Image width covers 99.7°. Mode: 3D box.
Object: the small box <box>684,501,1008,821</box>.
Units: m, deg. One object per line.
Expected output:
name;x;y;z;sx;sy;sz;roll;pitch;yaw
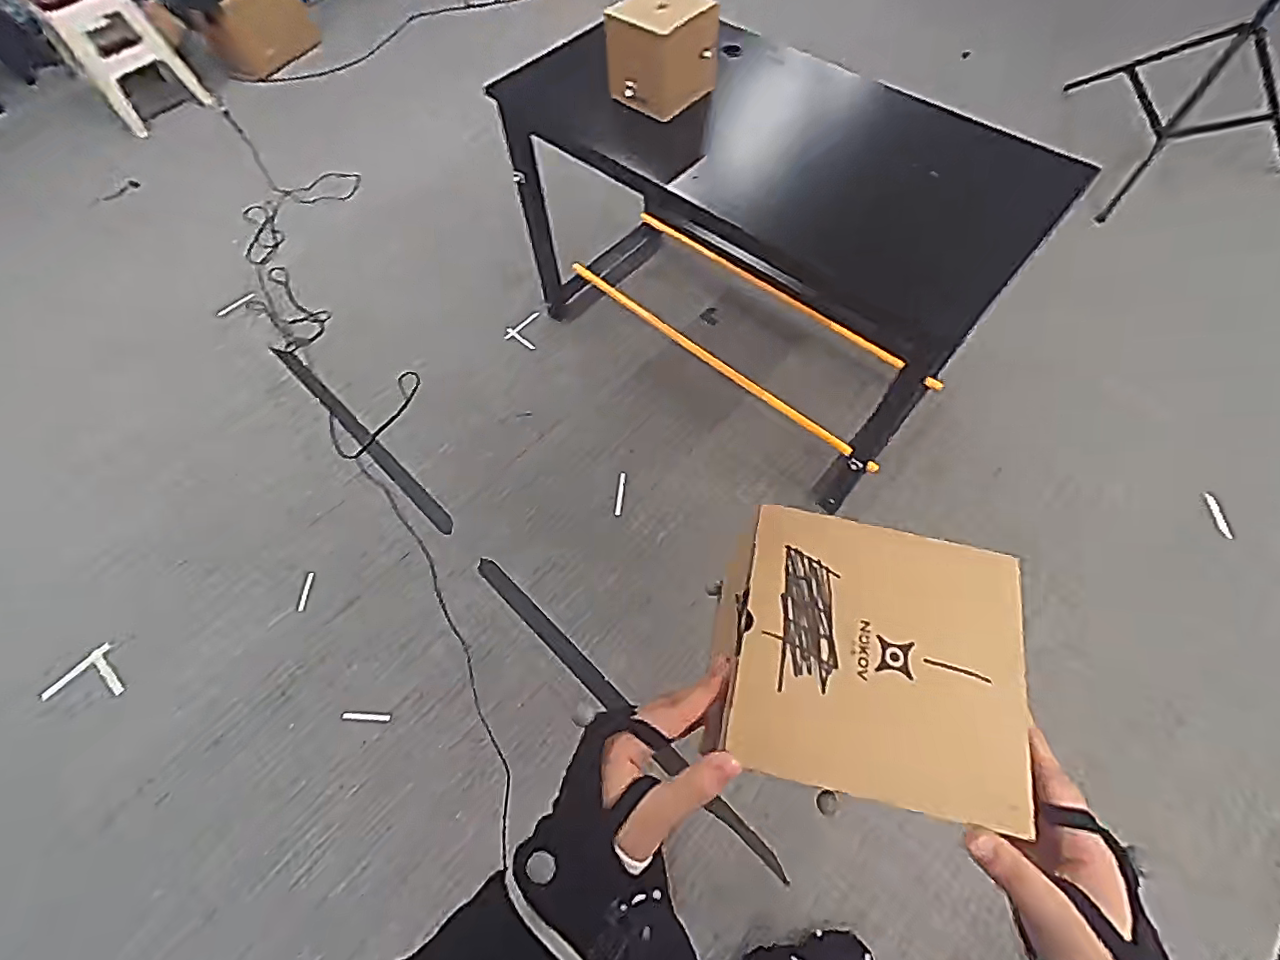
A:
small box;0.135;0.135;0.410;0.179;0.176;0.168;11;66;4

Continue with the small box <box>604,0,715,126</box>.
small box;0.043;-0.922;1.183;0.168;0.176;0.179;36;70;20
